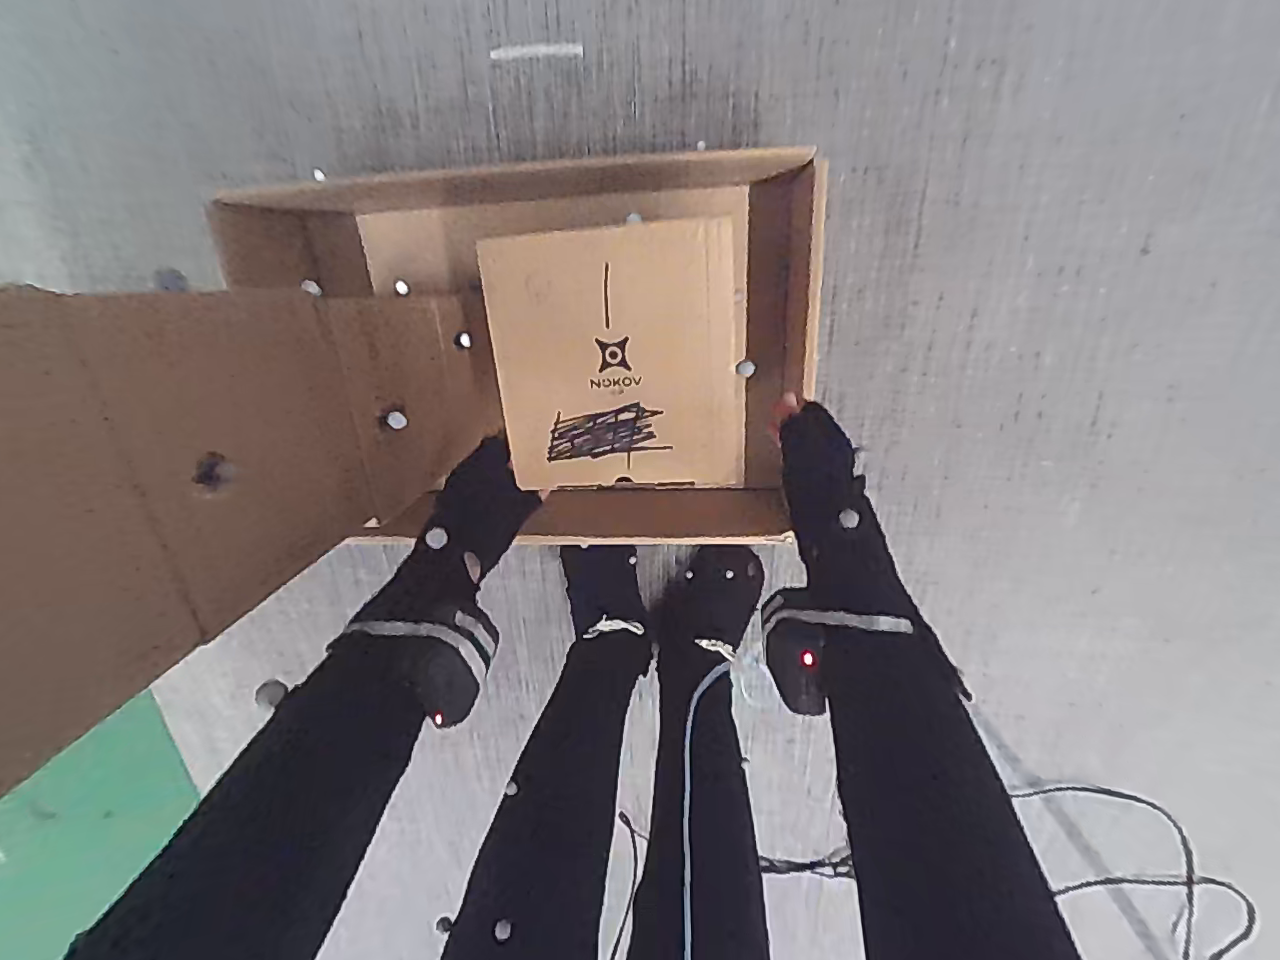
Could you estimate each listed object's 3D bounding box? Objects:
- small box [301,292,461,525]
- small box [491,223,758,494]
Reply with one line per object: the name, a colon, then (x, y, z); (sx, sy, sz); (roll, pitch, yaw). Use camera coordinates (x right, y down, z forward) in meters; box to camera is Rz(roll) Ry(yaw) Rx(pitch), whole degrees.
small box: (-0.279, -0.073, 0.481); (0.168, 0.176, 0.179); (-1, 111, 6)
small box: (-0.001, -0.102, 0.429); (0.168, 0.176, 0.179); (1, 112, 6)
